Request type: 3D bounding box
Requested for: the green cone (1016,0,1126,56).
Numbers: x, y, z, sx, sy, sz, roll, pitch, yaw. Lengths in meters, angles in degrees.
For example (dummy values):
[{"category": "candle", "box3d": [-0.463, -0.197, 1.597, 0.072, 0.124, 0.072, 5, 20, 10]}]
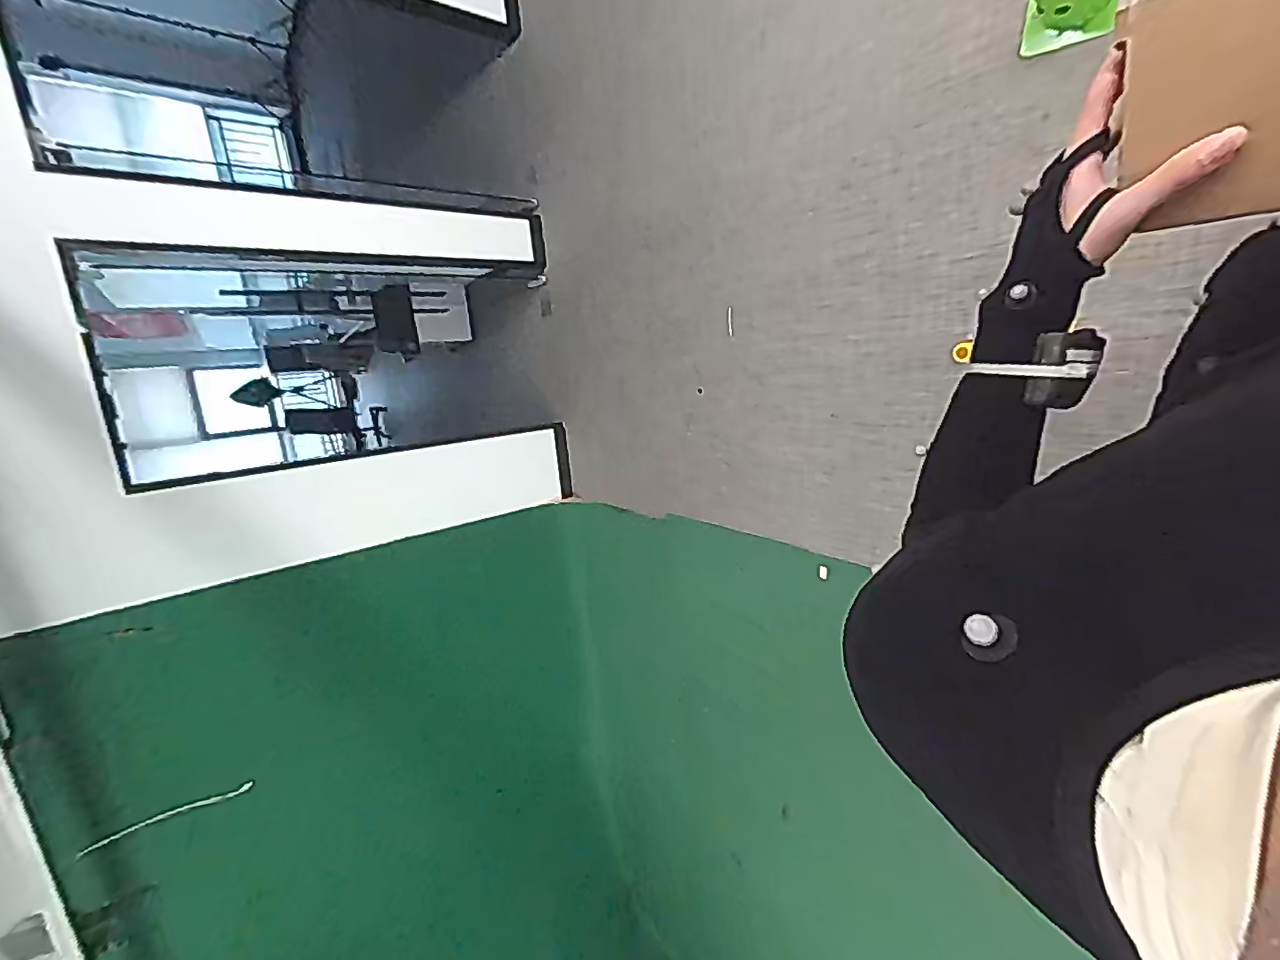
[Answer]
[{"category": "green cone", "box3d": [0.819, -1.042, 1.089, 0.200, 0.368, 0.202, 20, 118, 49]}]
